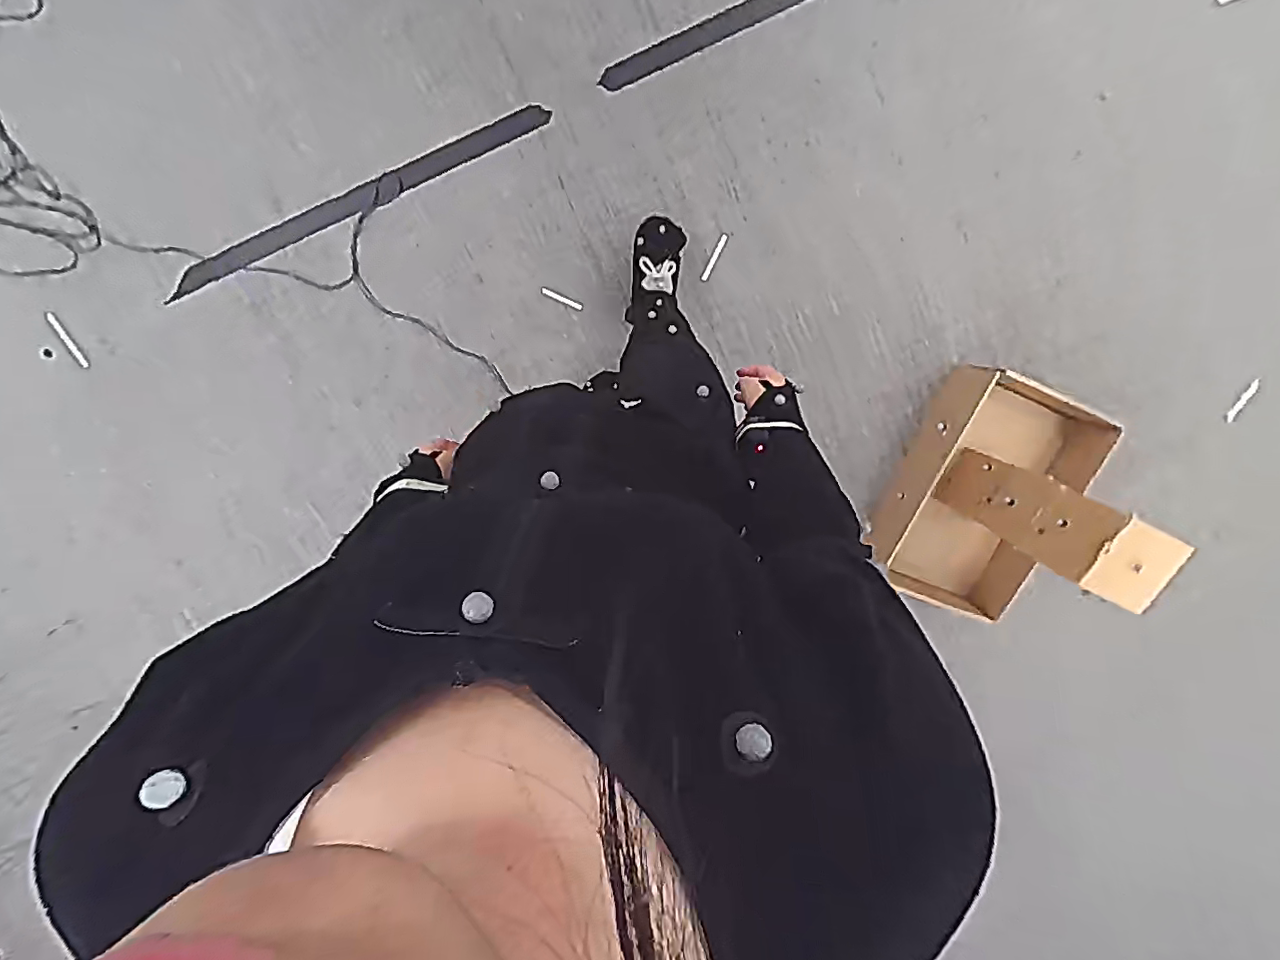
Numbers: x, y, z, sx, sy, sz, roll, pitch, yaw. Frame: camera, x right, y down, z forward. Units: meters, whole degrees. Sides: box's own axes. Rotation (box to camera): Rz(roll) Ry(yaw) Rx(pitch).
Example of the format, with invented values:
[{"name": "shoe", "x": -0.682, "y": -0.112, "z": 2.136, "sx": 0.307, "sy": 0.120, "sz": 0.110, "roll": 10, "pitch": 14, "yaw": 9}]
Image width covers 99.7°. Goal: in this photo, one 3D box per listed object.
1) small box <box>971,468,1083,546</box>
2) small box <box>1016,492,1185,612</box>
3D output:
[{"name": "small box", "x": 0.956, "y": 0.087, "z": 1.307, "sx": 0.179, "sy": 0.176, "sz": 0.168, "roll": 25, "pitch": 105, "yaw": -11}, {"name": "small box", "x": 0.971, "y": 0.146, "z": 1.156, "sx": 0.179, "sy": 0.176, "sz": 0.168, "roll": 24, "pitch": 105, "yaw": -11}]
